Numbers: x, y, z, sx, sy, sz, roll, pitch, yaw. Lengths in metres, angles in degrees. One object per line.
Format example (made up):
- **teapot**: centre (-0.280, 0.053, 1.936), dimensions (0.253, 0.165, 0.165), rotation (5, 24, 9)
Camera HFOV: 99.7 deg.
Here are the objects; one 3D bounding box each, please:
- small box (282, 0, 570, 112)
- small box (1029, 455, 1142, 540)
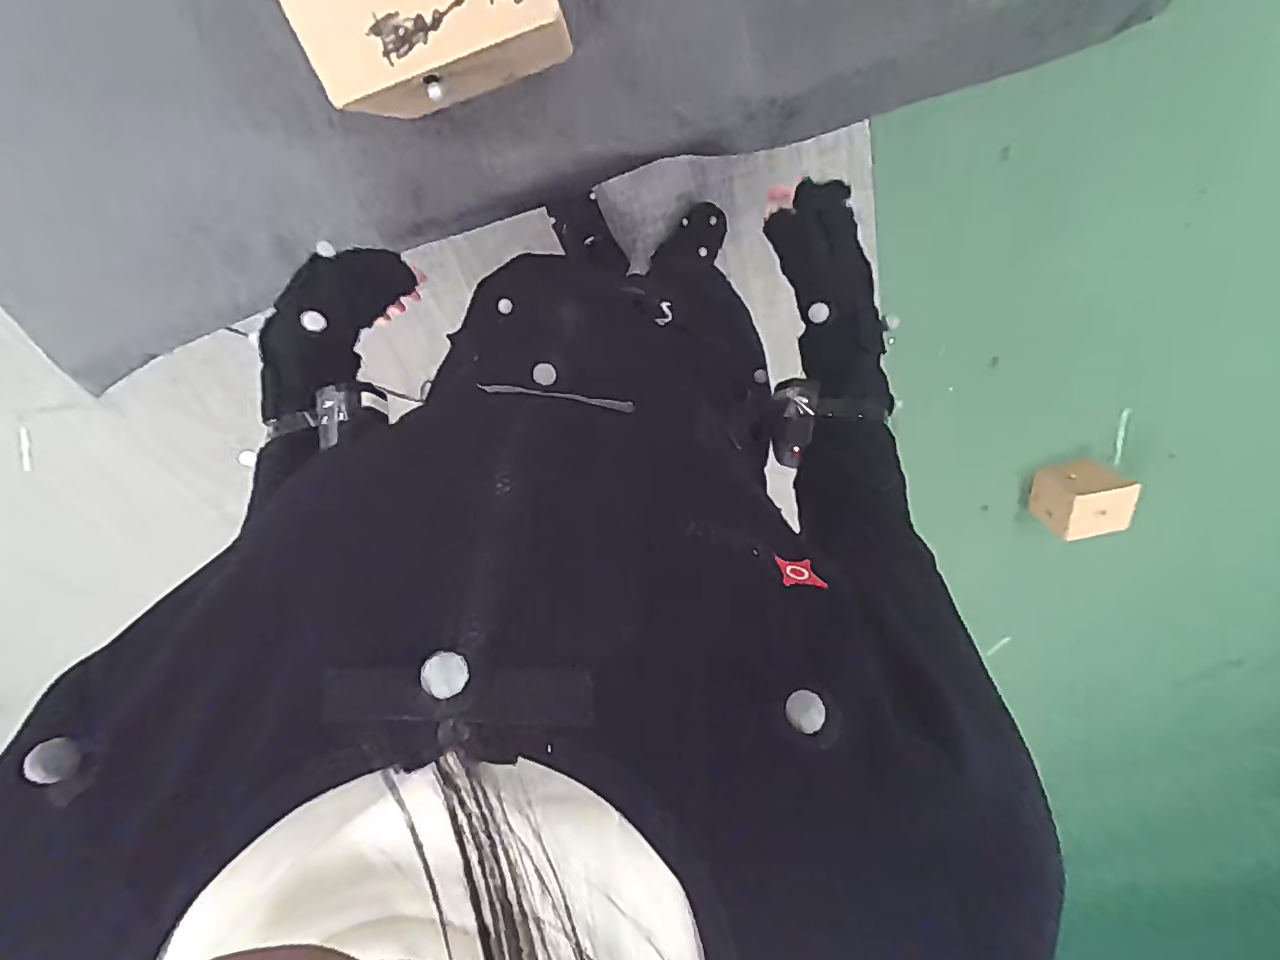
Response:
- **small box**: centre (-0.156, -0.385, 0.375), dimensions (0.168, 0.176, 0.179), rotation (-16, 121, 6)
- **small box**: centre (1.290, 0.048, 1.583), dimensions (0.179, 0.176, 0.168), rotation (-11, 125, 3)
